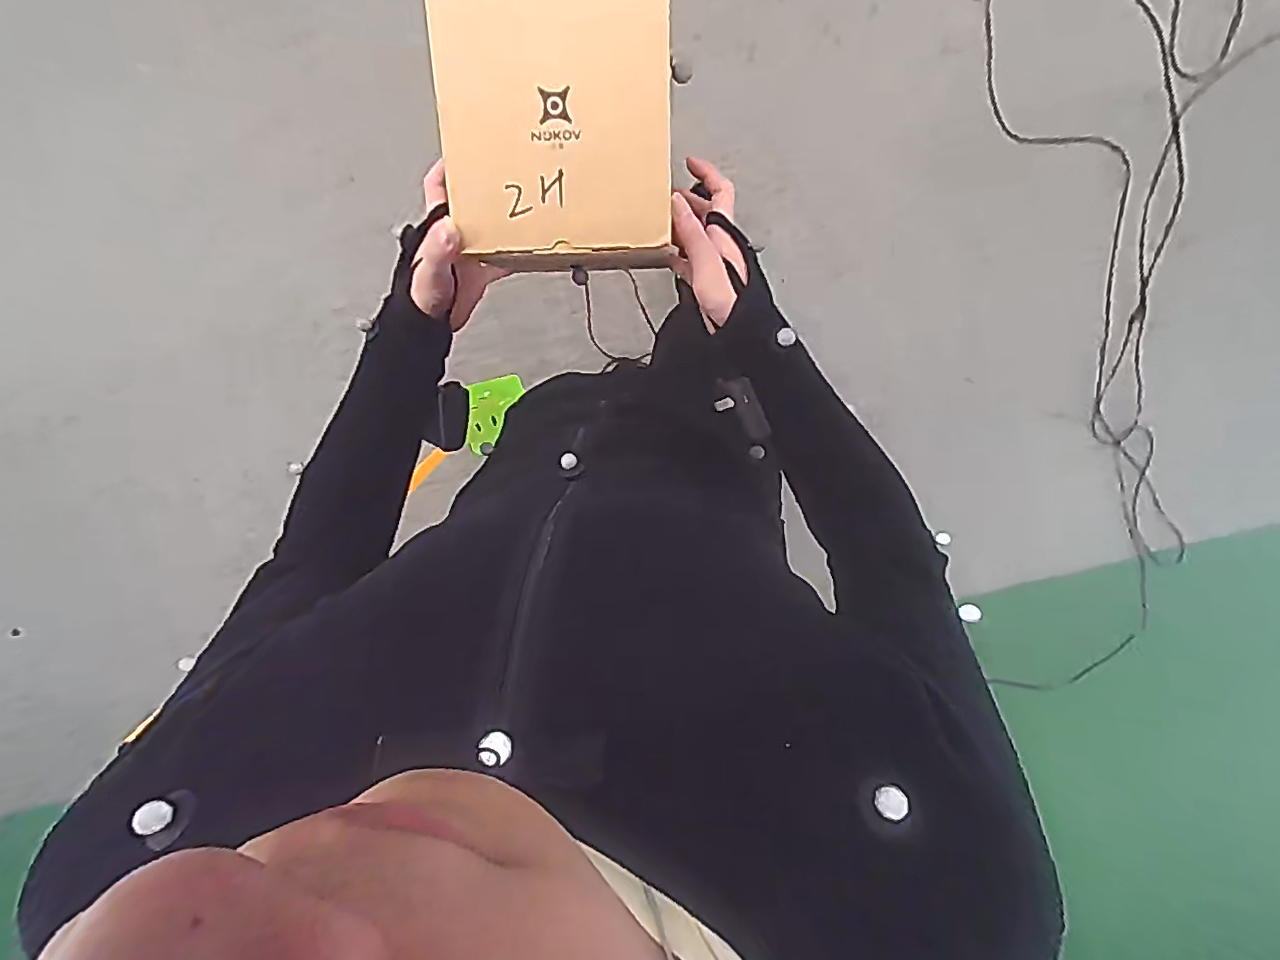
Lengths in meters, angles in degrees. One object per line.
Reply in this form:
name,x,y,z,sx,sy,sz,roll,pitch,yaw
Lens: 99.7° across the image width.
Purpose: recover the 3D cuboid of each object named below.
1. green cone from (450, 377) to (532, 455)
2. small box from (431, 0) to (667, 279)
green cone,-0.428,-0.138,1.413,0.202,0.368,0.200,-14,106,1
small box,-0.063,-0.276,0.471,0.168,0.176,0.179,-1,106,1
